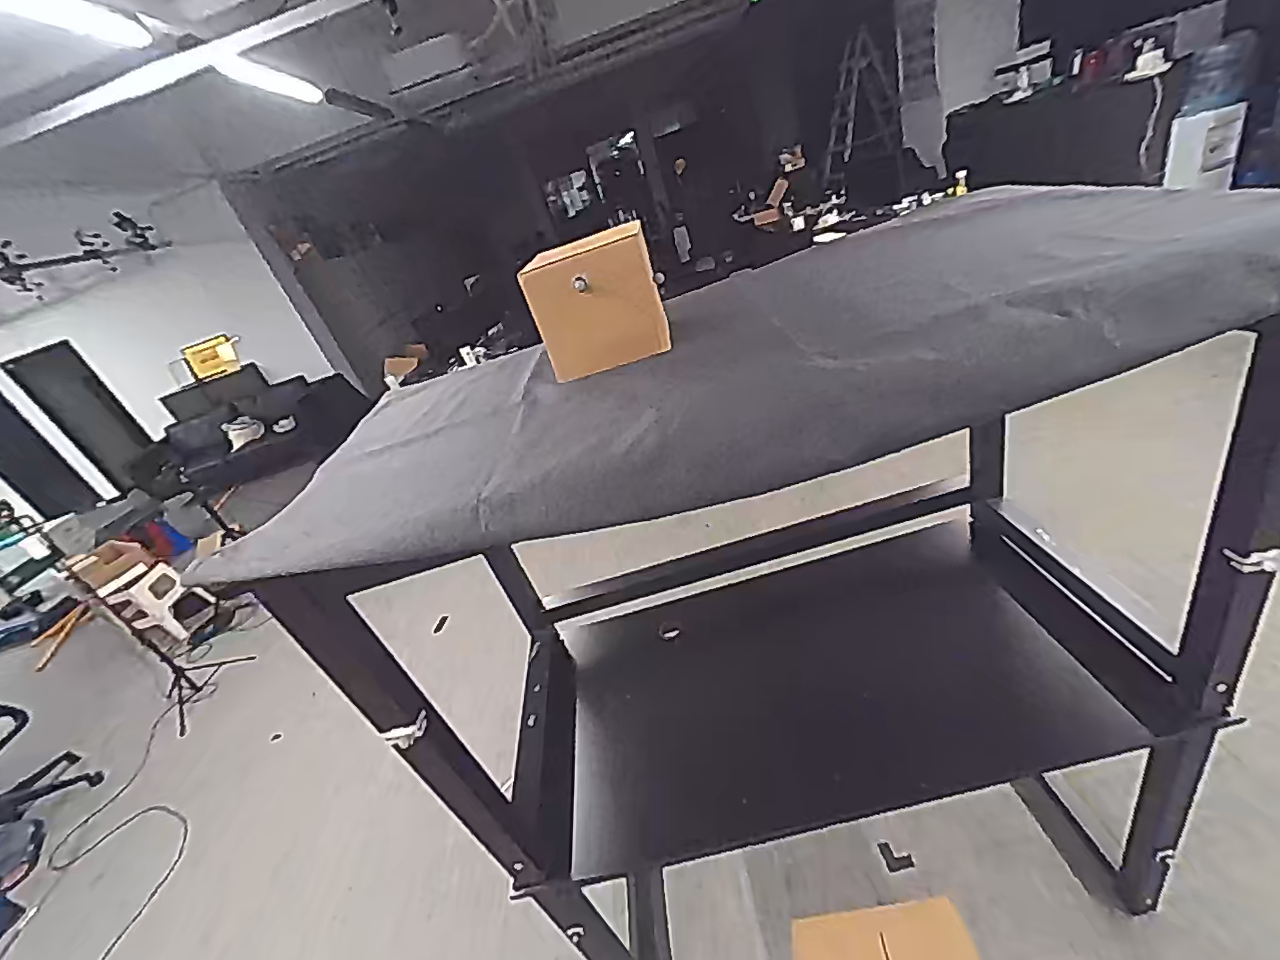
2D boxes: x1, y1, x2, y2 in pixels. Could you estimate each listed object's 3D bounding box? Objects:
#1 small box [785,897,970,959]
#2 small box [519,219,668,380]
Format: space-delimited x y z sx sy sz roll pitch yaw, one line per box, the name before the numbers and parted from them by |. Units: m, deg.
small box | 0.250 0.555 0.533 0.168 0.176 0.179 -9 33 2
small box | -0.057 -0.274 0.823 0.179 0.176 0.168 -15 30 10
